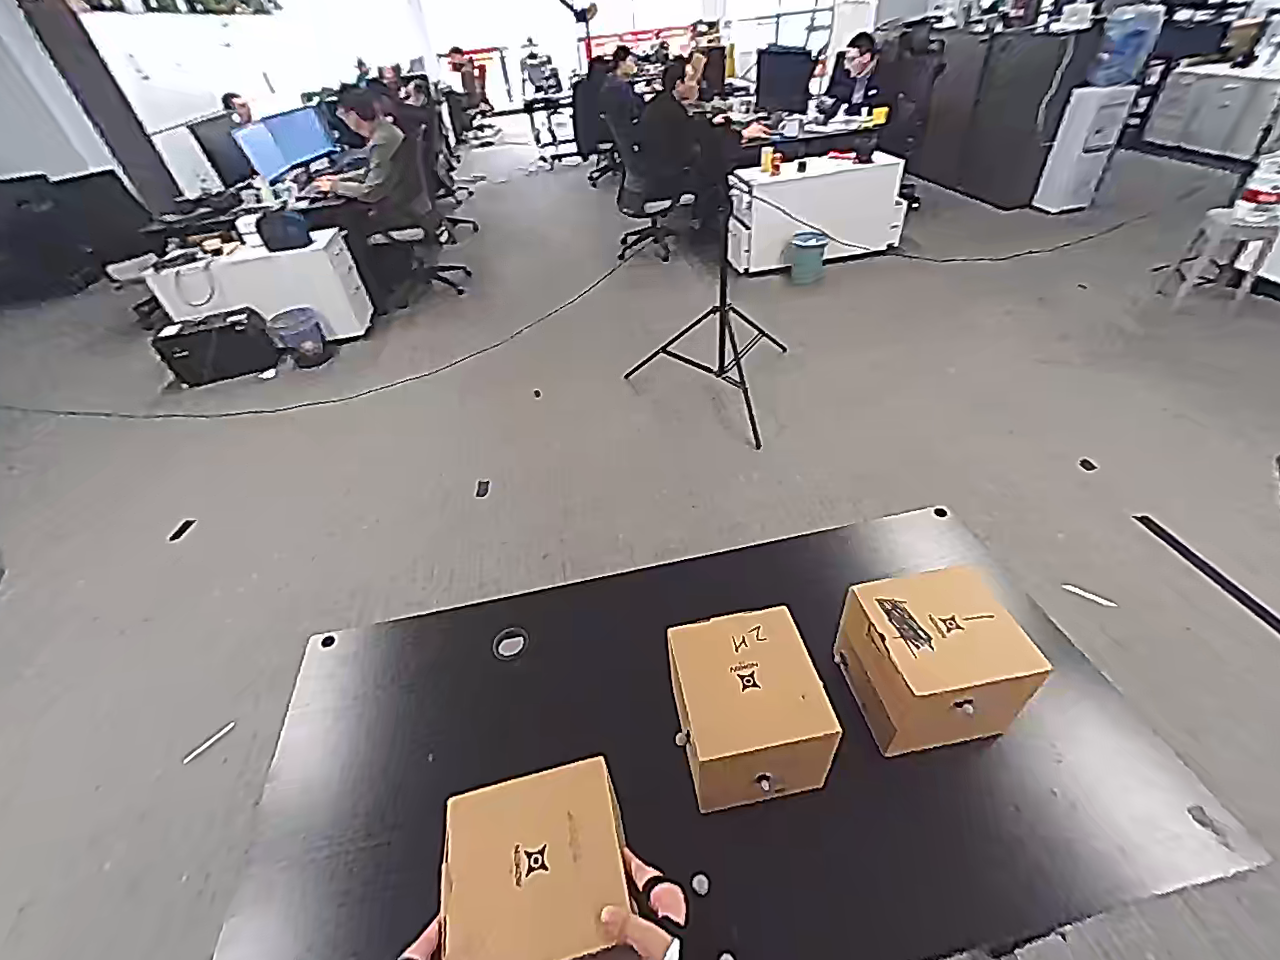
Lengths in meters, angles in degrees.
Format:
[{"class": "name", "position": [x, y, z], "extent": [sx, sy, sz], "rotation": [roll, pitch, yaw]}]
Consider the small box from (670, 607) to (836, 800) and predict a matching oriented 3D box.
[{"class": "small box", "position": [0.140, 0.302, 0.722], "extent": [0.168, 0.176, 0.179], "rotation": [-10, 41, -4]}]

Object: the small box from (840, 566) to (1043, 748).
[{"class": "small box", "position": [0.393, 0.247, 0.749], "extent": [0.179, 0.176, 0.168], "rotation": [-9, 41, -4]}]

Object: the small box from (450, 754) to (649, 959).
[{"class": "small box", "position": [-0.096, 0.442, 0.599], "extent": [0.179, 0.176, 0.168], "rotation": [-13, 42, -8]}]
